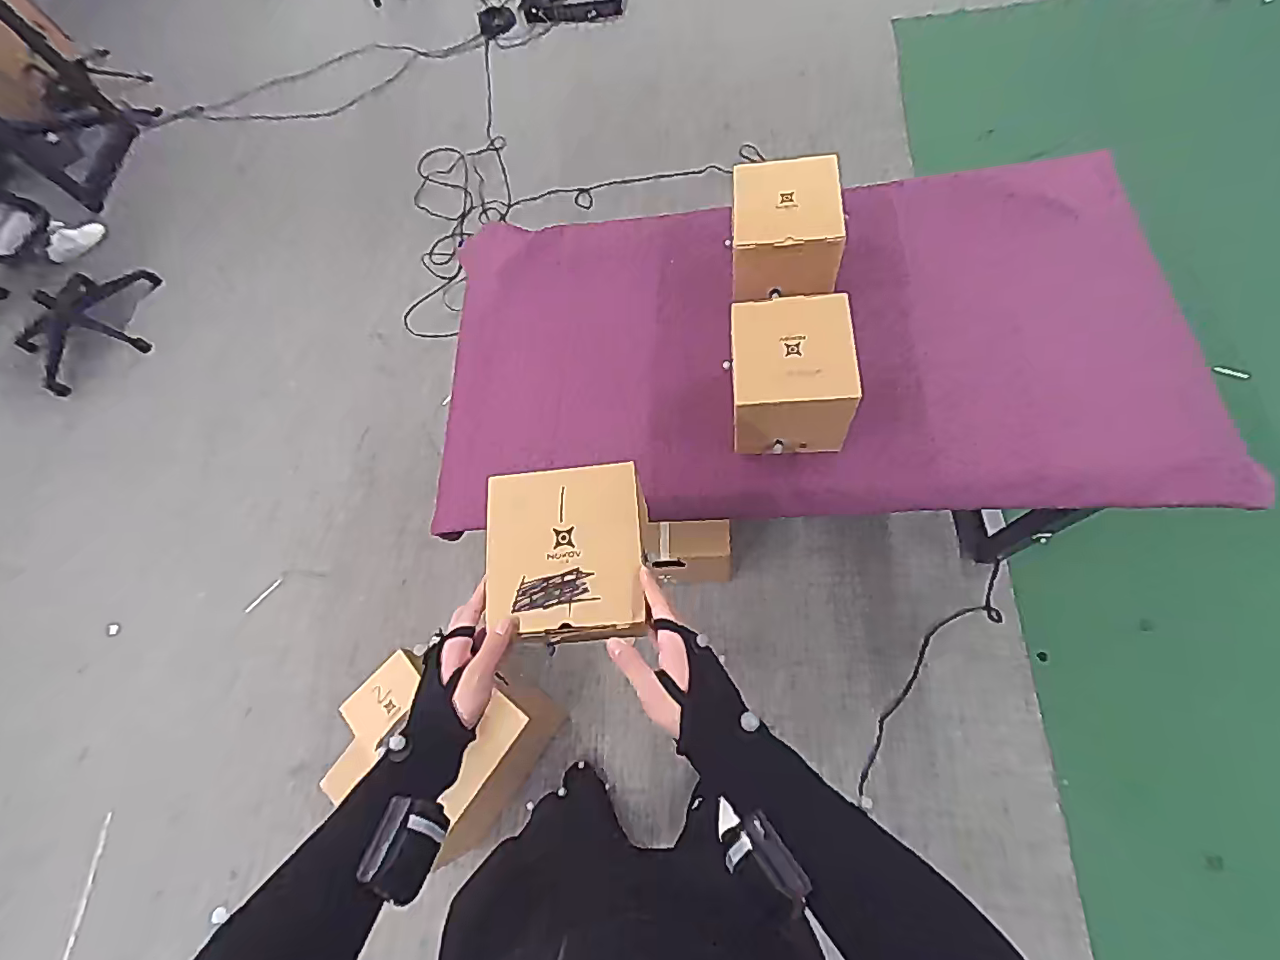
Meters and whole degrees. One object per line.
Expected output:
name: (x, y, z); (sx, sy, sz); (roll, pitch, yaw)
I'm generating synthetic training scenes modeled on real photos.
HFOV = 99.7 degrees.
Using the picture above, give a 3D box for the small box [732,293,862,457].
small box: (0.223, -0.150, 0.810); (0.168, 0.176, 0.179); (-2, 67, 11)

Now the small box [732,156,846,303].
small box: (0.241, -0.405, 0.912); (0.168, 0.176, 0.179); (-1, 69, 10)

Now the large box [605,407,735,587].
large box: (0.087, 0.062, 1.474); (0.320, 0.320, 0.408); (-3, 67, 9)

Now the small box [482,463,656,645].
small box: (-0.074, 0.097, 0.632); (0.168, 0.176, 0.179); (-6, 69, 4)
